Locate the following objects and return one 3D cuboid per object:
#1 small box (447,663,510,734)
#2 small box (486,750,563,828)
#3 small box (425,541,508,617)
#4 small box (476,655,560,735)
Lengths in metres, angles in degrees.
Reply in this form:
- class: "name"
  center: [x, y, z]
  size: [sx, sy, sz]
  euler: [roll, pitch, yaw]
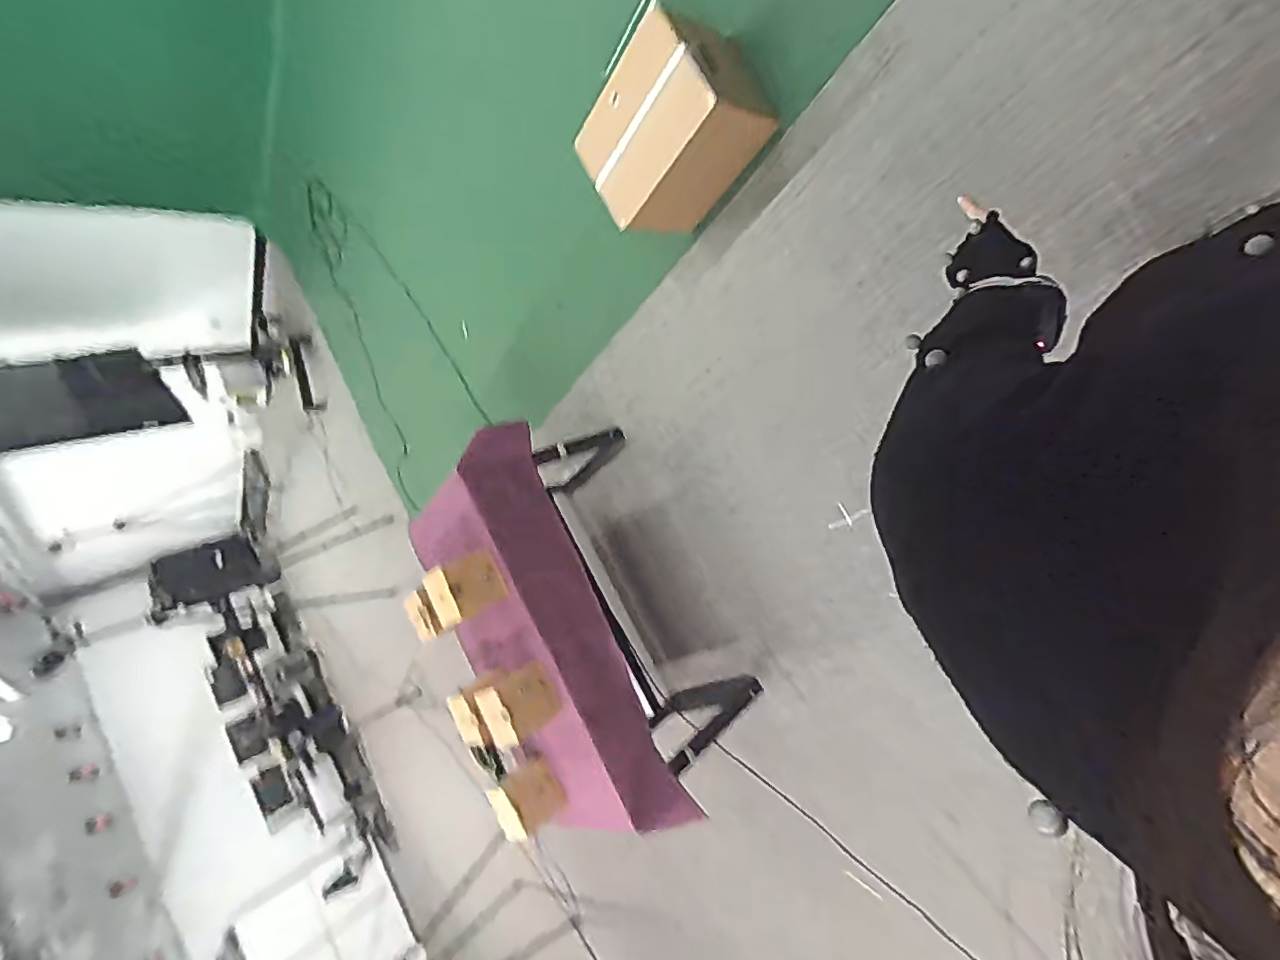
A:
- class: "small box"
  center: [-0.525, 0.742, 1.848]
  size: [0.179, 0.176, 0.168]
  euler: [-26, 86, 47]
- class: "small box"
  center: [-0.381, 1.034, 1.816]
  size: [0.179, 0.176, 0.168]
  euler: [-42, 74, 44]
- class: "small box"
  center: [-0.541, 0.310, 1.698]
  size: [0.179, 0.176, 0.168]
  euler: [-29, 84, 47]
- class: "small box"
  center: [-0.369, 0.658, 1.661]
  size: [0.179, 0.176, 0.168]
  euler: [-37, 78, 47]
